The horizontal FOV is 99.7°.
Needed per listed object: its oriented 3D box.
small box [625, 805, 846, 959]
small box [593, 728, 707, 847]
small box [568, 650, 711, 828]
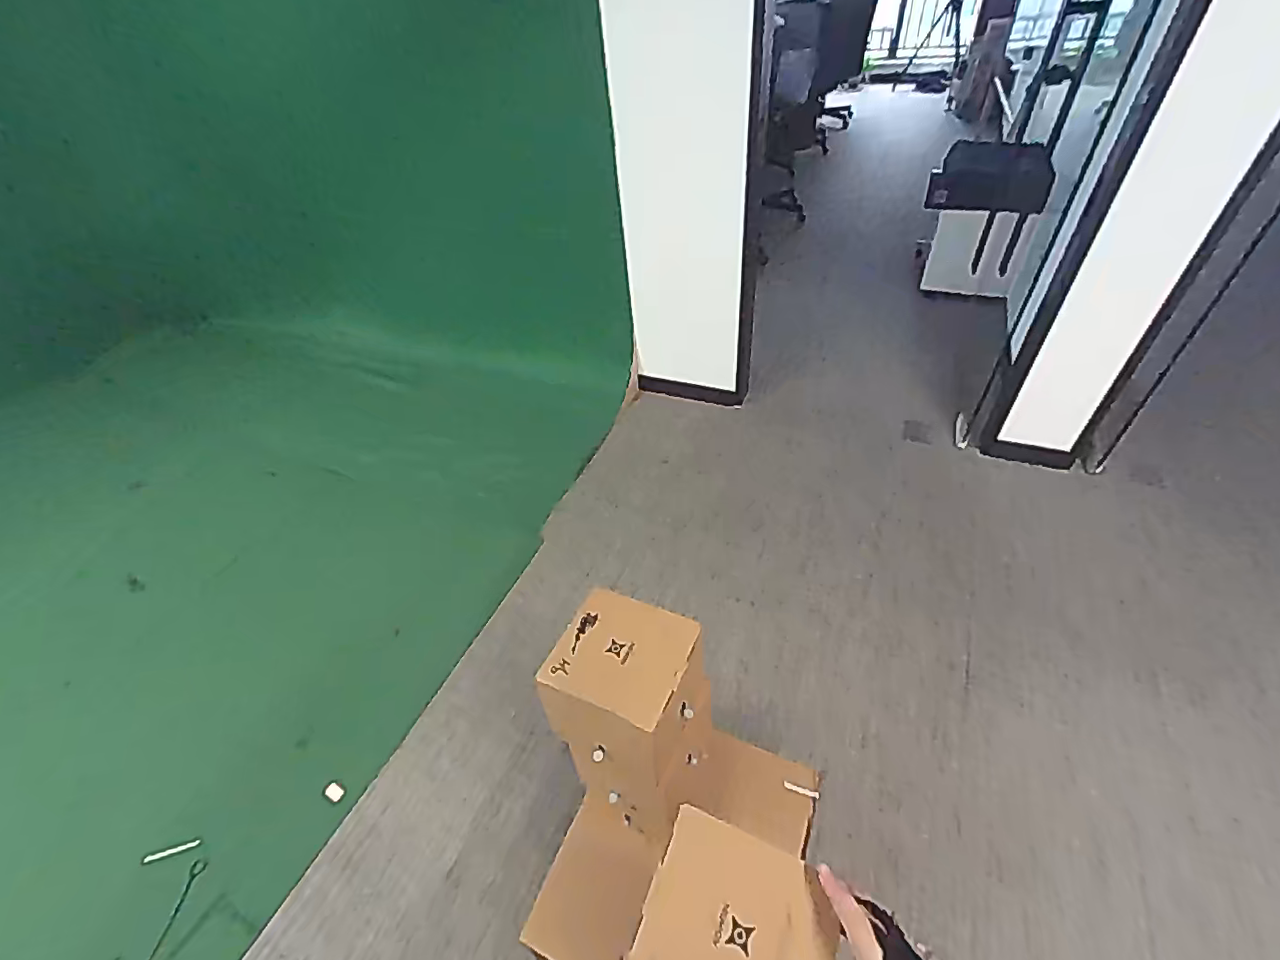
[{"bbox_3d":[0.095,0.483,0.563,0.179,0.176,0.168,16,48,19],"label":"small box"},{"bbox_3d":[0.016,0.533,1.003,0.168,0.176,0.179,14,44,21],"label":"small box"},{"bbox_3d":[0.005,0.420,0.882,0.168,0.176,0.179,16,45,23],"label":"small box"}]
